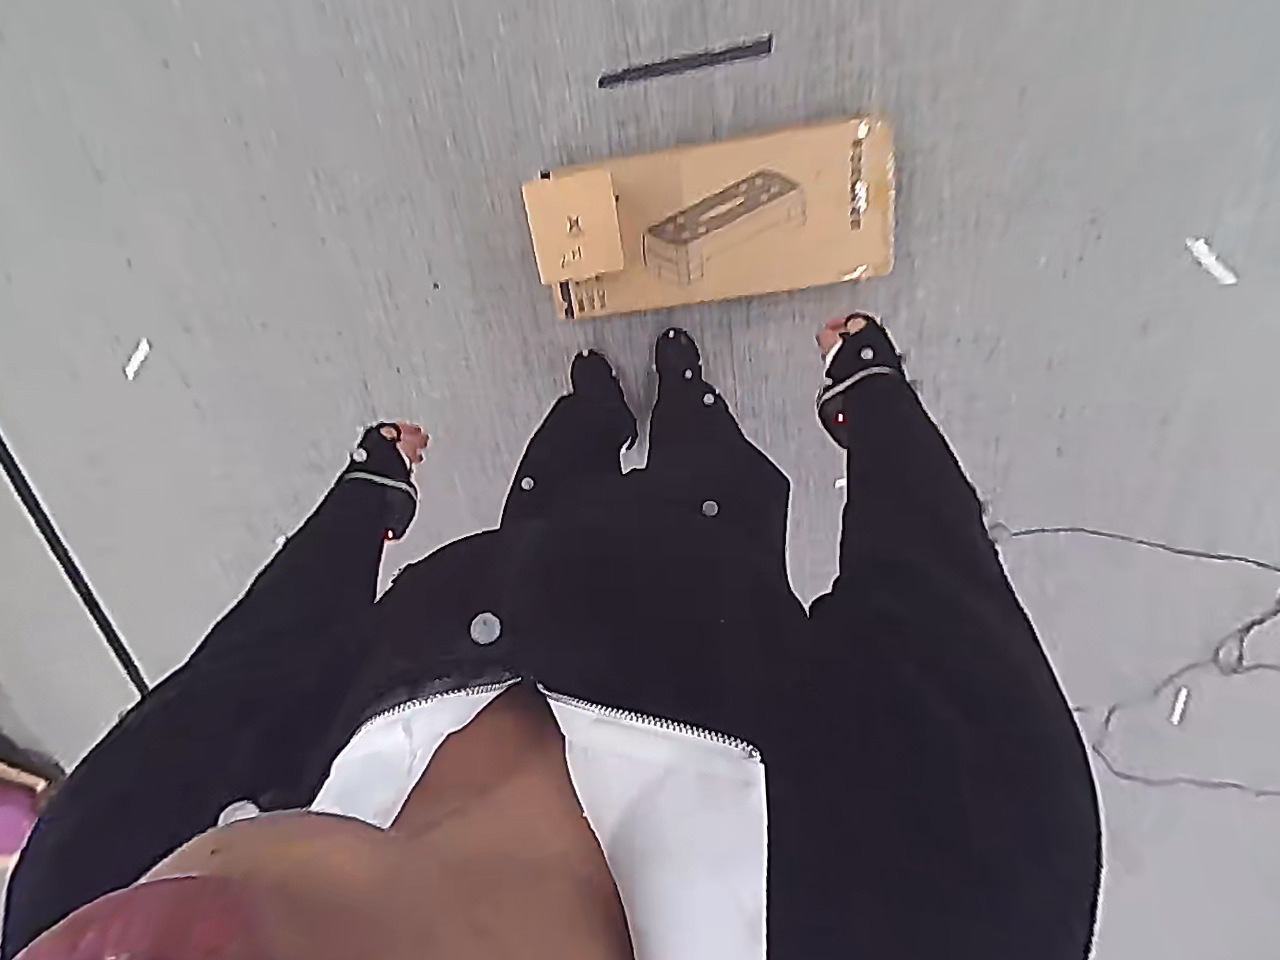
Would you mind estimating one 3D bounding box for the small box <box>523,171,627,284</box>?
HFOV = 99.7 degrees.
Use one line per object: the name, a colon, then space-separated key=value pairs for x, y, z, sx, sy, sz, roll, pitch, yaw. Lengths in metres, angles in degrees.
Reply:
small box: x=-0.122 y=-0.493 z=1.081 sx=0.168 sy=0.176 sz=0.179 roll=-7 pitch=111 yaw=5
